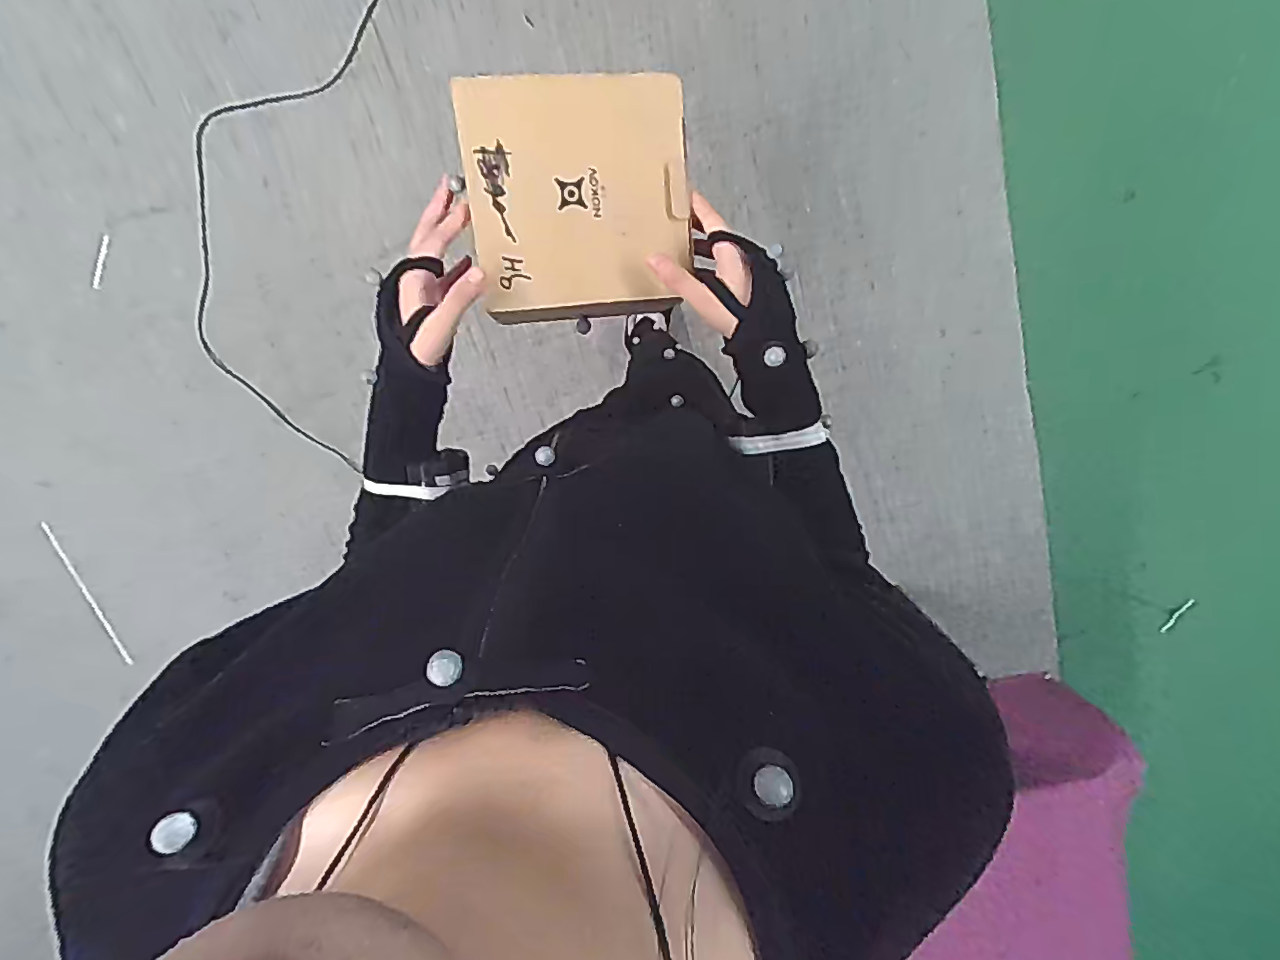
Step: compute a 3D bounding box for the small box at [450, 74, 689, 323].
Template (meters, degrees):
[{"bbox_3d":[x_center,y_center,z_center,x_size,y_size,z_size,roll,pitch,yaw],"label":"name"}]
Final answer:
[{"bbox_3d":[-0.064,-0.241,0.502,0.179,0.176,0.168,-7,102,-9],"label":"small box"}]
